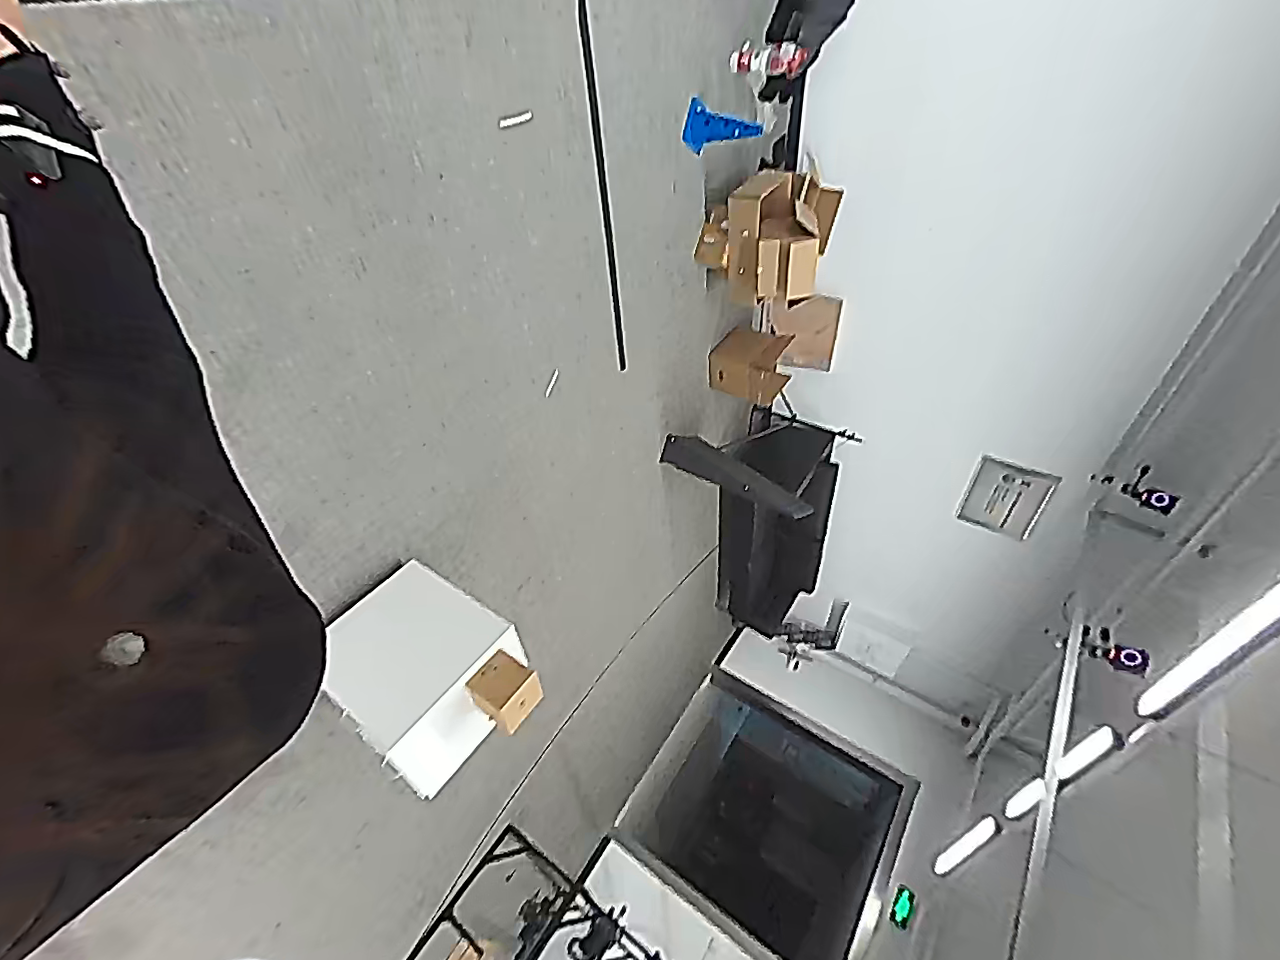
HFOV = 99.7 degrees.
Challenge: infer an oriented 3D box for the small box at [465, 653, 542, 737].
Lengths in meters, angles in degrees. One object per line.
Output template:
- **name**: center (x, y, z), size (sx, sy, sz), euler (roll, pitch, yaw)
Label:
- **small box**: center (-0.458, 0.716, 1.820), size (0.168, 0.176, 0.179), euler (-45, 146, -37)
